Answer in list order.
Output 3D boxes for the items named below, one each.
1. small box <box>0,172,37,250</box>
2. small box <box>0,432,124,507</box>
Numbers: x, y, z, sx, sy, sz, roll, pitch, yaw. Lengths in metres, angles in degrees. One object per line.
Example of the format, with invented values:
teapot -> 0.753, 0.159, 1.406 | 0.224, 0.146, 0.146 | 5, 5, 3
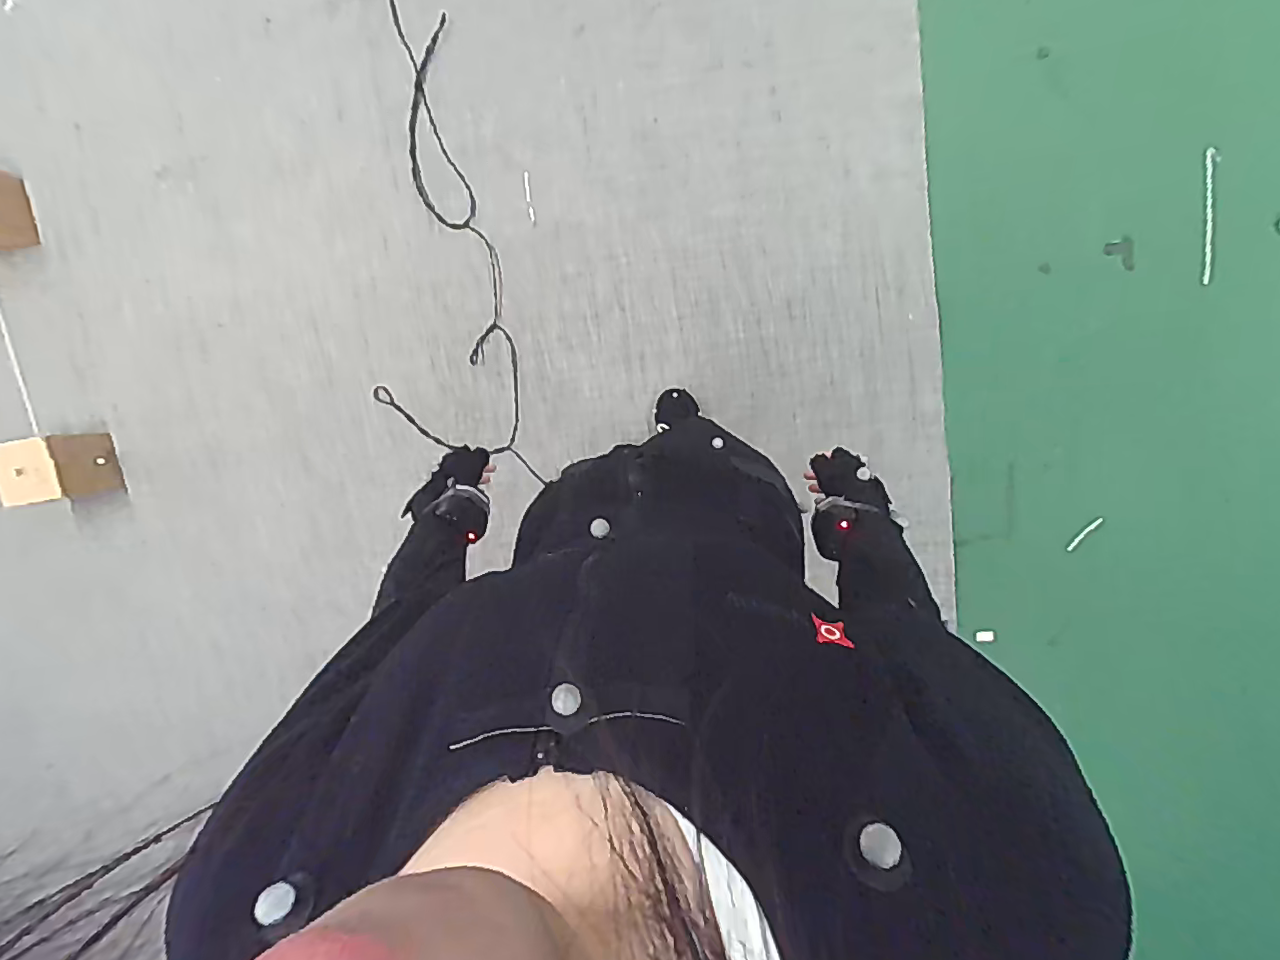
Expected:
small box -> -1.711, -0.698, 1.364 | 0.168, 0.176, 0.179 | -9, 100, 4
small box -> -1.581, -0.033, 1.469 | 0.179, 0.176, 0.168 | -9, 99, 4
